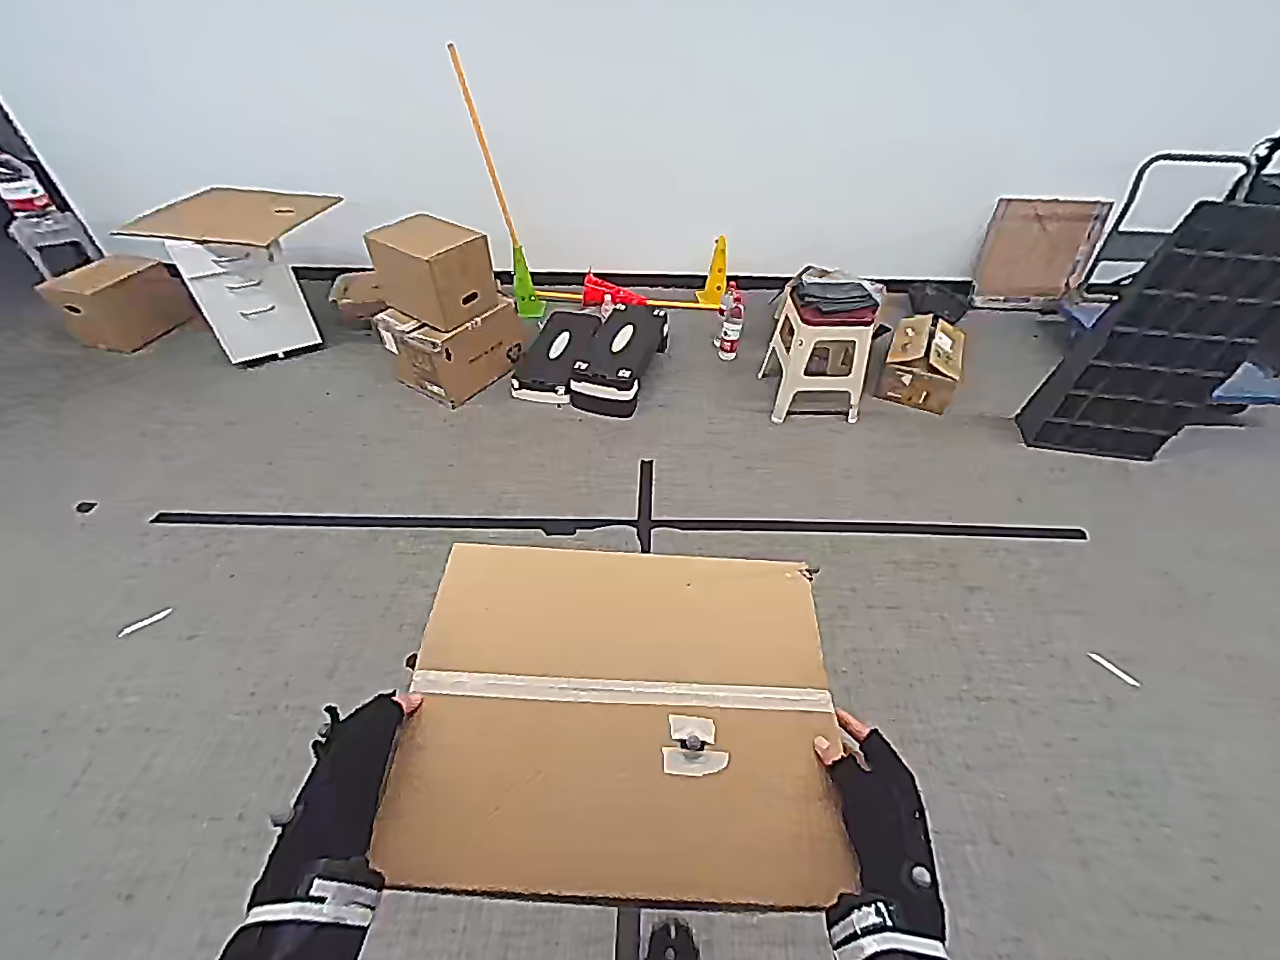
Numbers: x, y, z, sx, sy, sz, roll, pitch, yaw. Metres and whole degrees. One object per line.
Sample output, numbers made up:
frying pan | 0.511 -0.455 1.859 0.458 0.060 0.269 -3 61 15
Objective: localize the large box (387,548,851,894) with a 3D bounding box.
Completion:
large box | -0.021 0.303 0.662 0.408 0.320 0.320 4 52 -1
